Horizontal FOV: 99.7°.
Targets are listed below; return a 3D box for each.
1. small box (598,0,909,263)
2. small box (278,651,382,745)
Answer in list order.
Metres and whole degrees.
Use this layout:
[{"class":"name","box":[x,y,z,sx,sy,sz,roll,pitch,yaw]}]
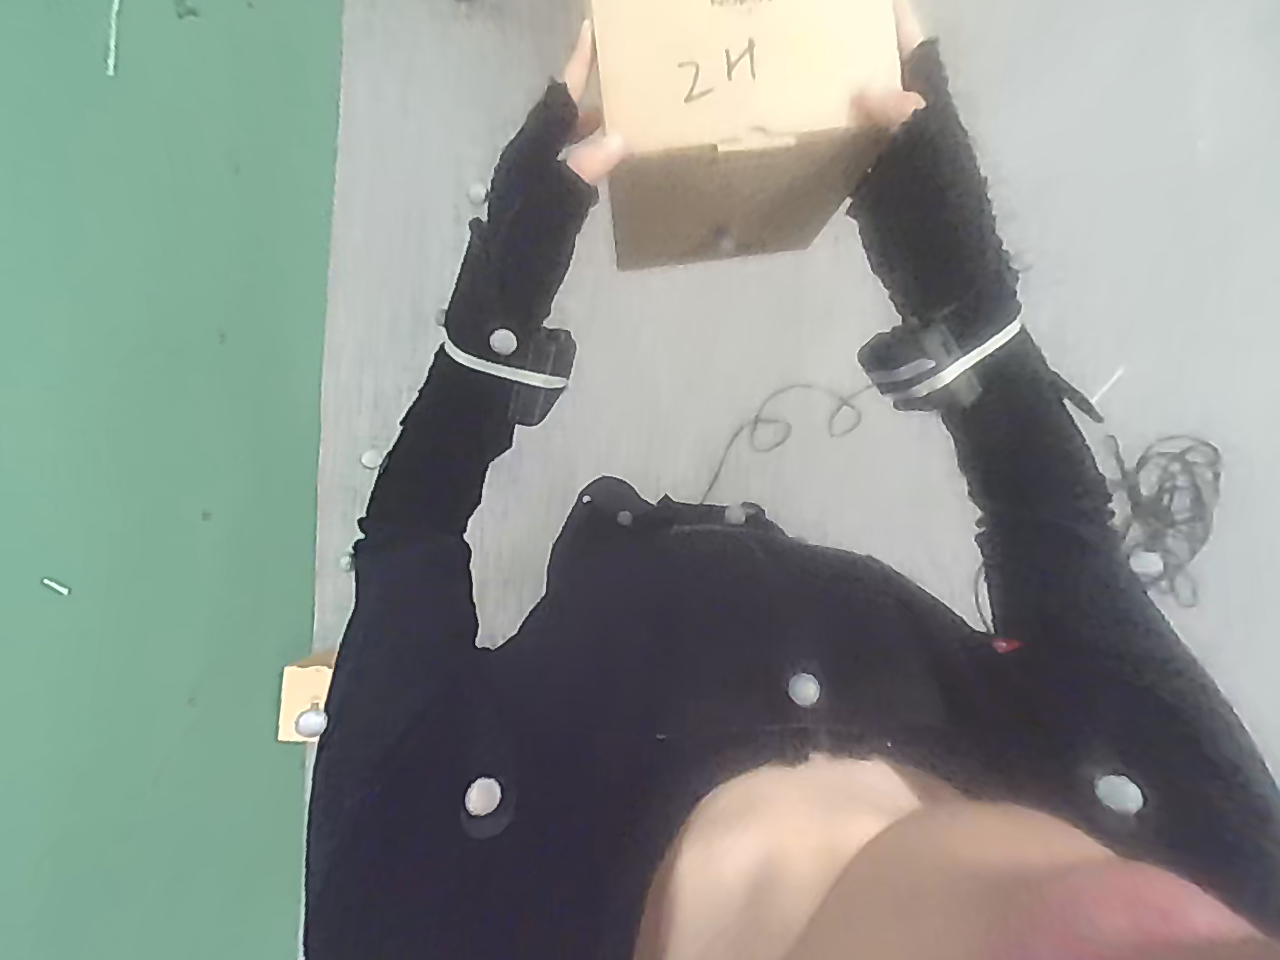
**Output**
[{"class":"small box","box":[0.059,-0.278,0.380,0.168,0.176,0.179,-7,89,0]},{"class":"small box","box":[-0.772,0.543,1.362,0.168,0.176,0.179,2,85,-1]}]
